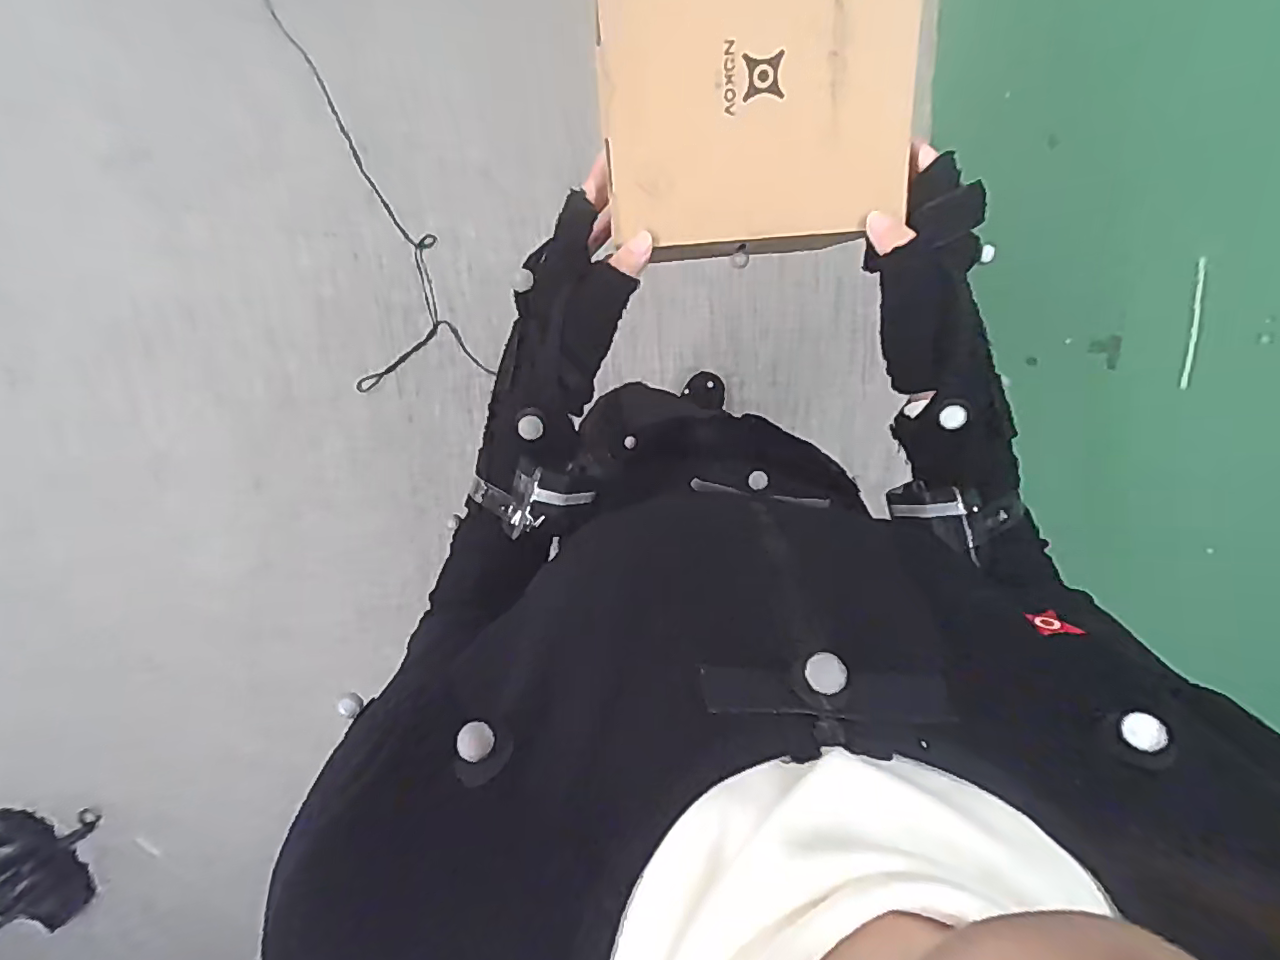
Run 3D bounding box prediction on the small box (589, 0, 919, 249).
[{"bbox_3d":[0.066,-0.259,0.372,0.179,0.176,0.168,-5,110,3],"label":"small box"}]
